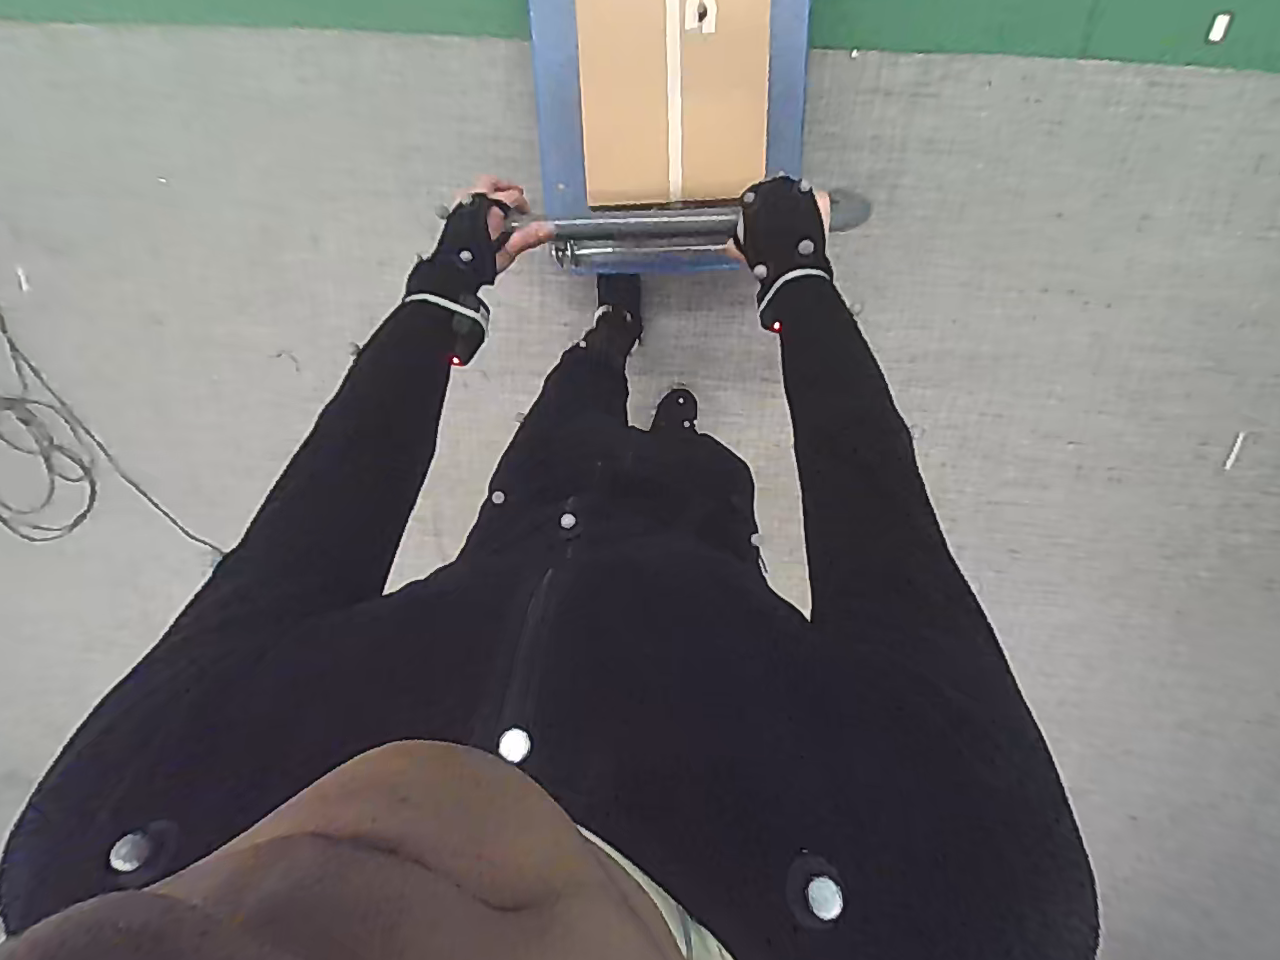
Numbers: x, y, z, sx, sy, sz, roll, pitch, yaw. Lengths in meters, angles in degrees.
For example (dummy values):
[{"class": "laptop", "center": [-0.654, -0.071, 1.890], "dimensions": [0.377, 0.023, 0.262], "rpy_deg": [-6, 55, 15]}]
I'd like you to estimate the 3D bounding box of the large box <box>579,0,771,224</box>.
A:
[{"class": "large box", "center": [0.072, -0.735, 1.036], "dimensions": [0.320, 0.320, 0.408], "rpy_deg": [0, 109, 5]}]
